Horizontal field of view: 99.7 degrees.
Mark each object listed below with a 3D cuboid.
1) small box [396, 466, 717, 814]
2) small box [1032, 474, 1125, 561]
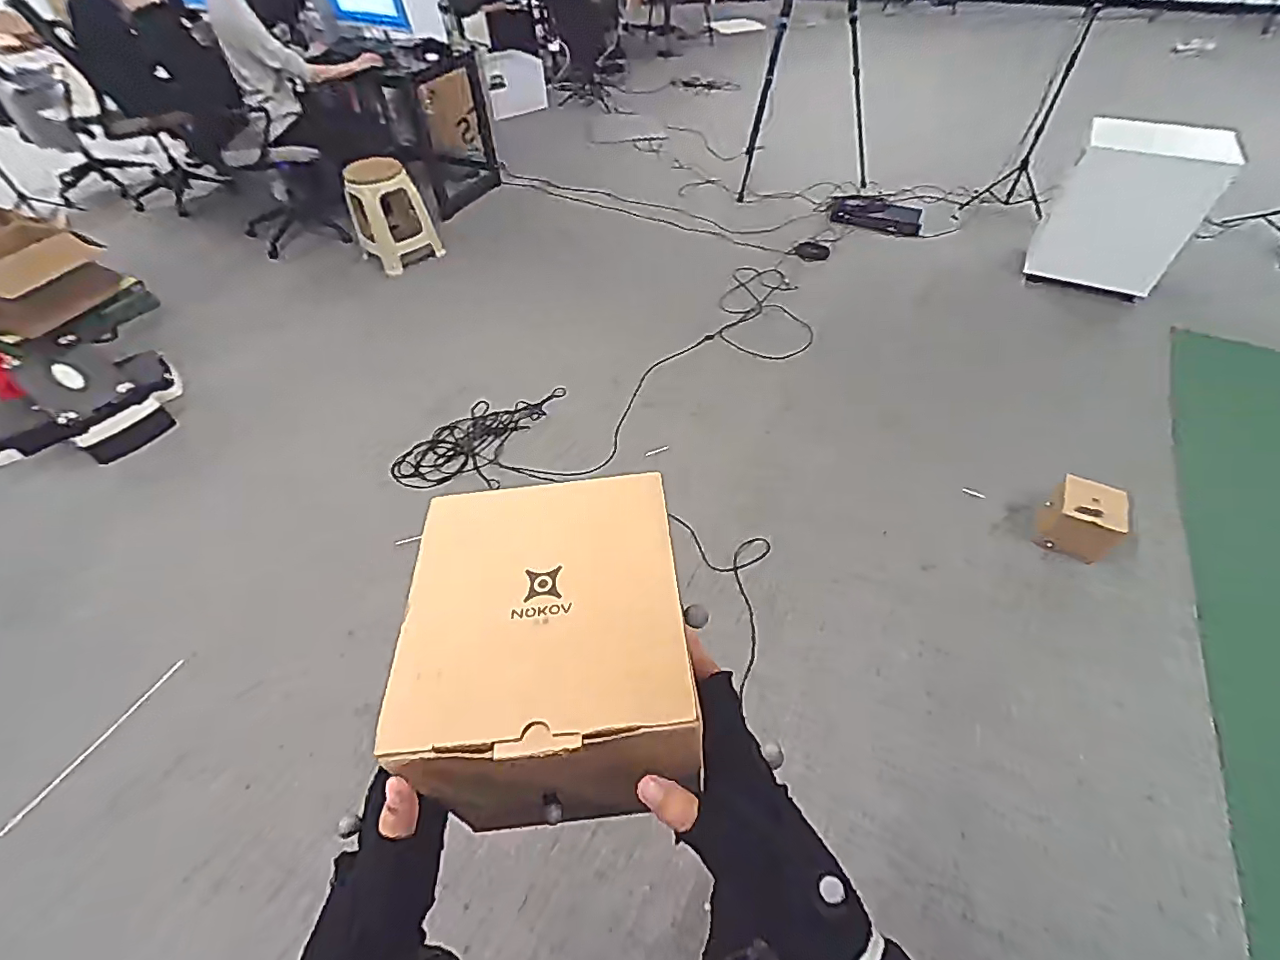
[{"bbox_3d":[-0.044,0.114,0.386,0.168,0.176,0.179,-6,48,0],"label":"small box"},{"bbox_3d":[1.343,0.119,1.662,0.168,0.176,0.179,22,54,20],"label":"small box"}]
